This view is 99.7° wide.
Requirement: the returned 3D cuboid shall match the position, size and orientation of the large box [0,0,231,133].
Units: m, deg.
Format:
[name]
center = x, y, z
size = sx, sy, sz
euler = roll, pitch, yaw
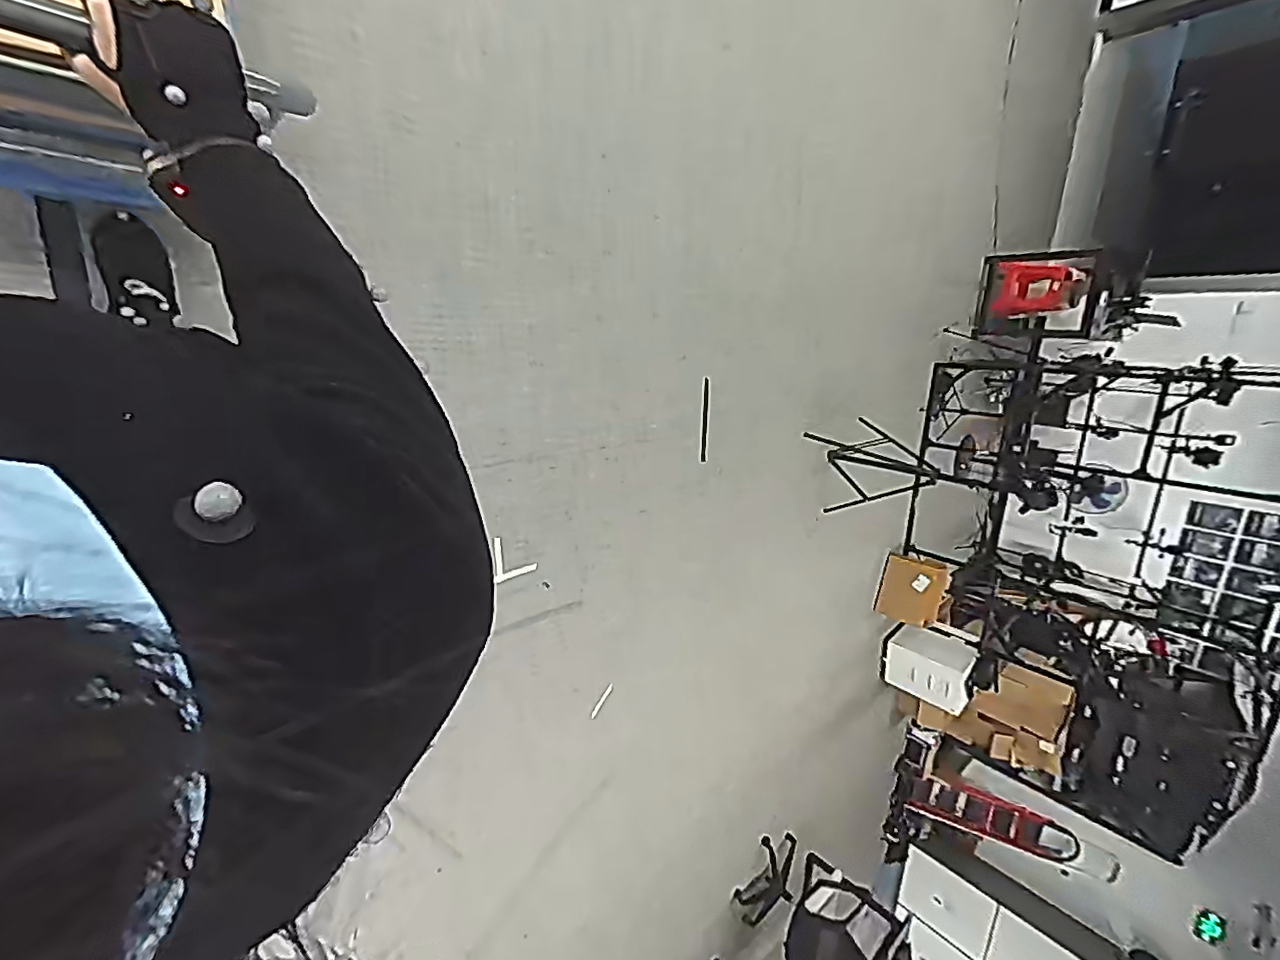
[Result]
[large box]
center = -0.825, -0.695, 0.693
size = 0.408, 0.320, 0.320
euler = -15, 113, -42
